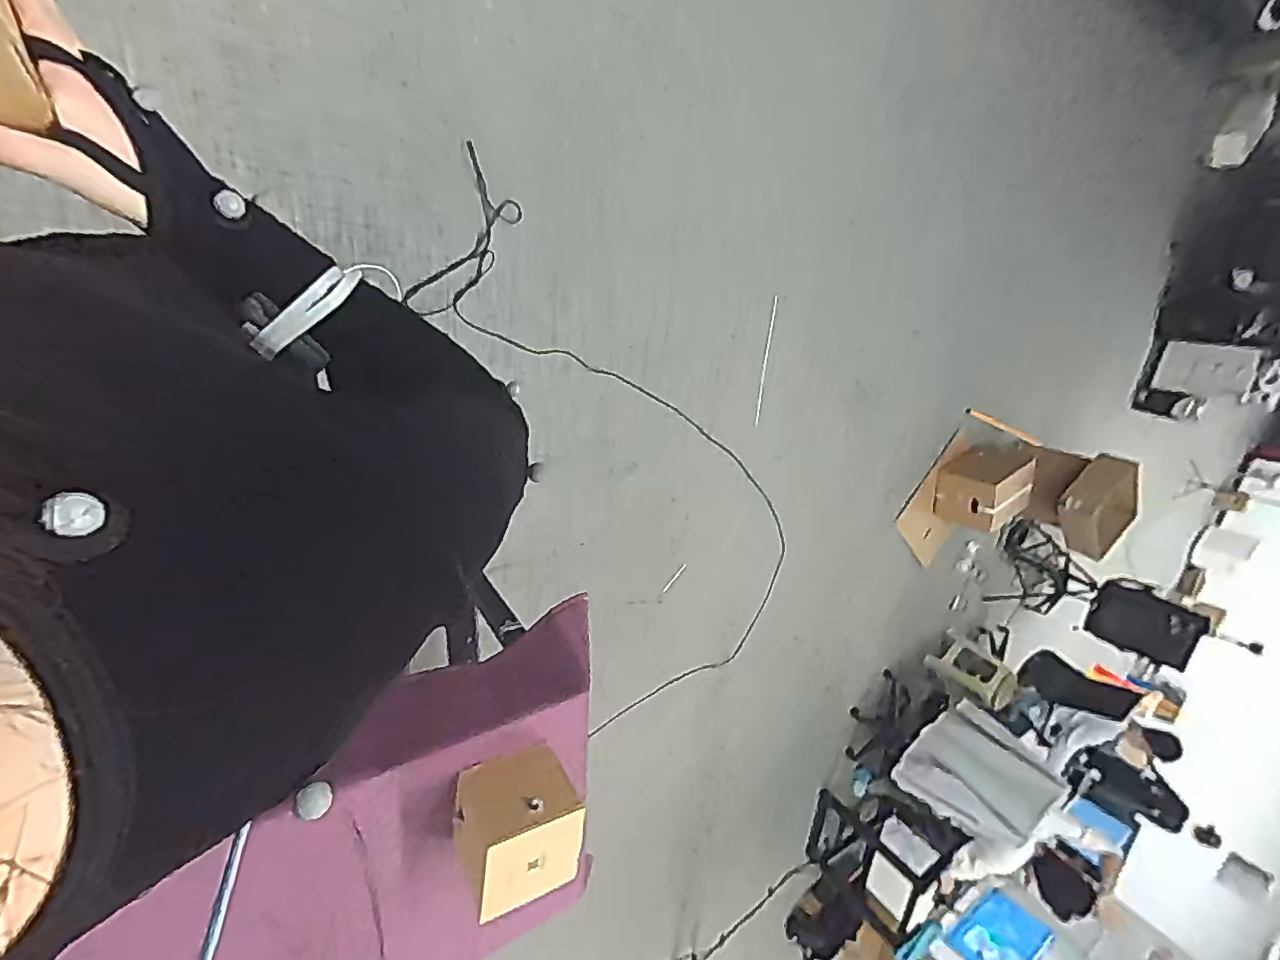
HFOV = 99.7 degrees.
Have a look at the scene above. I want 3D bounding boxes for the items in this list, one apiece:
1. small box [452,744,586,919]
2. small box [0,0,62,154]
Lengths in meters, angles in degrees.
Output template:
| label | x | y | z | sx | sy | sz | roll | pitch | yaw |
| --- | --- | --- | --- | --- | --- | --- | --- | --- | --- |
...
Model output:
| label | x | y | z | sx | sy | sz | roll | pitch | yaw |
| --- | --- | --- | --- | --- | --- | --- | --- | --- | --- |
| small box | -0.219 | 0.607 | 0.963 | 0.179 | 0.176 | 0.168 | -2 | 109 | -34 |
| small box | -0.395 | -0.262 | 0.208 | 0.179 | 0.168 | 0.176 | -21 | 79 | -31 |
